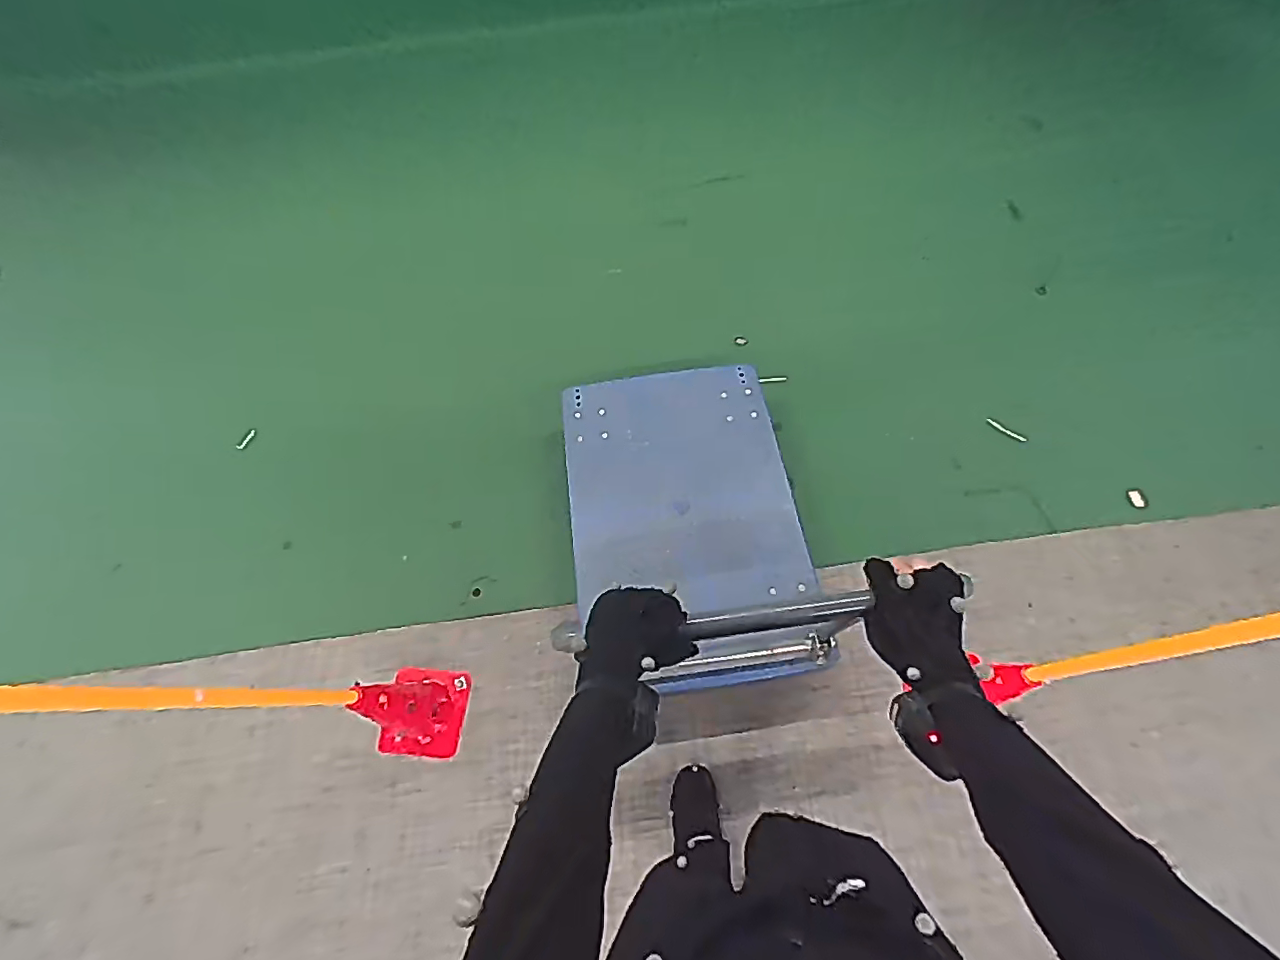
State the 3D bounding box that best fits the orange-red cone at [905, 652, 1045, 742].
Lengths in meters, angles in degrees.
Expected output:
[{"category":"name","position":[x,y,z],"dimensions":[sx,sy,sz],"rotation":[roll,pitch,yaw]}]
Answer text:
[{"category":"orange-red cone","position":[0.747,0.447,1.163],"dimensions":[0.198,0.360,0.199],"rotation":[2,63,4]}]
